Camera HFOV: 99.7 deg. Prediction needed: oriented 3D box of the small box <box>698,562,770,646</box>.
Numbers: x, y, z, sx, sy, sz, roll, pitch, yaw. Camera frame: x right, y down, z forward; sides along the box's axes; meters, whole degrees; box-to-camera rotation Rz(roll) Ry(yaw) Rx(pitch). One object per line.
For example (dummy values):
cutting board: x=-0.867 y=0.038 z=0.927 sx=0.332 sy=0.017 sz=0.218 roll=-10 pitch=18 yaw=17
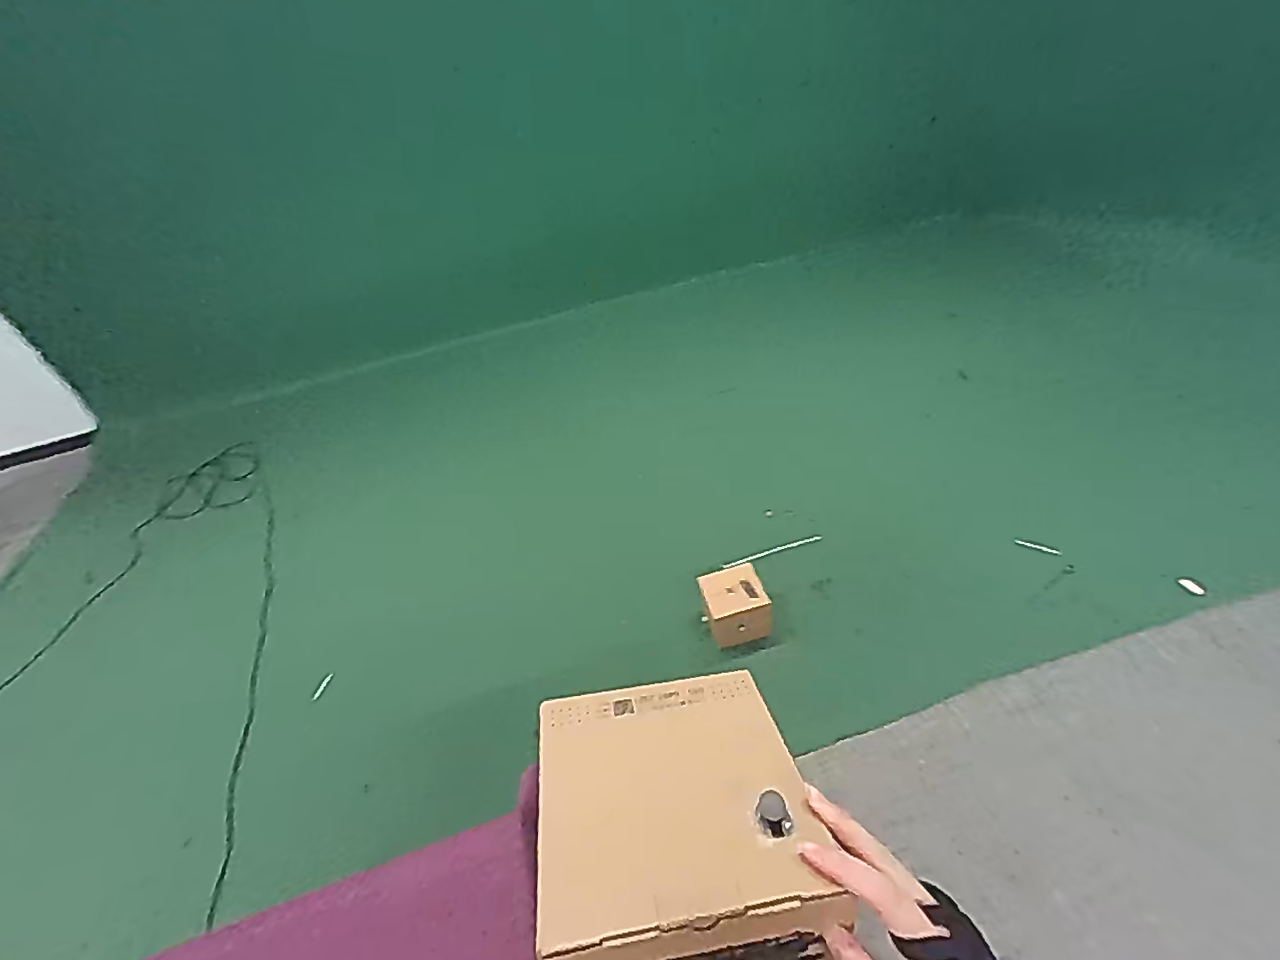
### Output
small box: x=0.292 y=0.388 z=1.684 sx=0.179 sy=0.176 sz=0.168 roll=-17 pitch=41 yaw=-3
